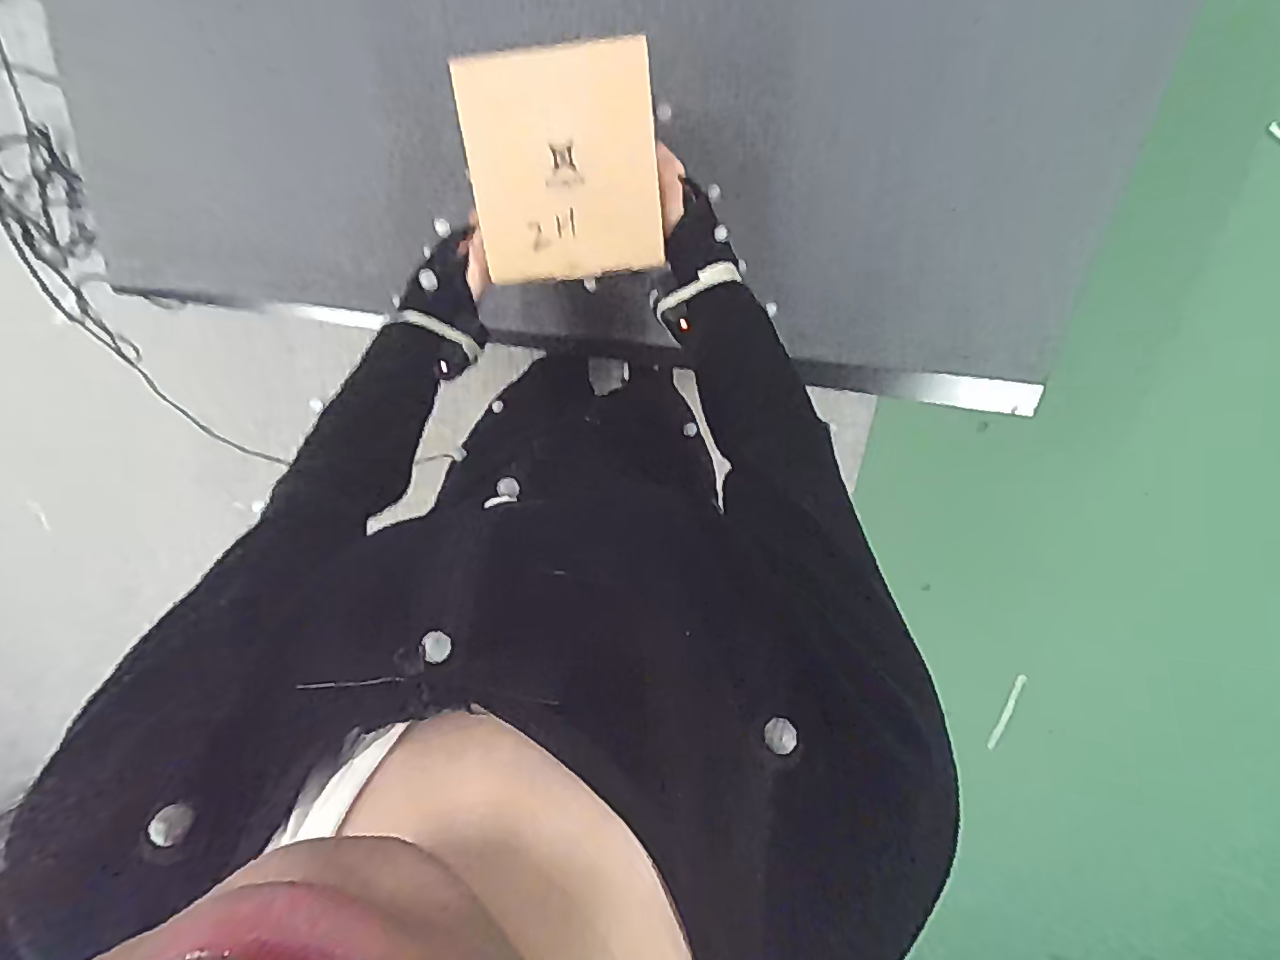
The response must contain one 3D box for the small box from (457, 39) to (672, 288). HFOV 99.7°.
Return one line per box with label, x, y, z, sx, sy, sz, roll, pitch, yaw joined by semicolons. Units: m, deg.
small box;-0.061;-0.291;0.538;0.168;0.176;0.179;-6;110;3
